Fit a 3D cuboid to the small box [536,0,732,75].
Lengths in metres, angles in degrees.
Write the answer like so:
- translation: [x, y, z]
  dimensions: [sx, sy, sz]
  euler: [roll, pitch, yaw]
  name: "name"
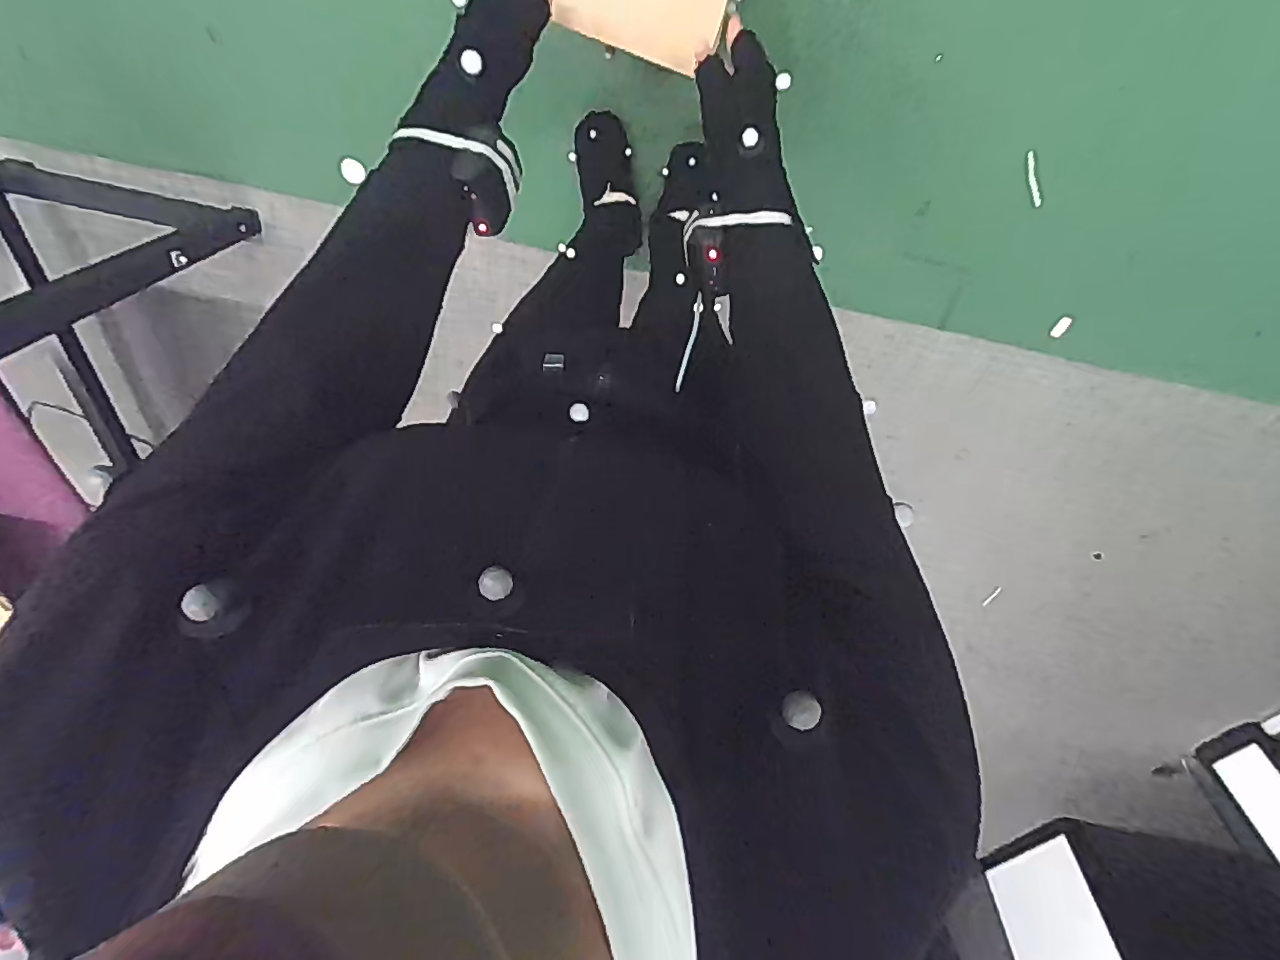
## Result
- translation: [0.013, -0.525, 0.530]
  dimensions: [0.179, 0.176, 0.168]
  euler: [15, 130, -5]
  name: "small box"
